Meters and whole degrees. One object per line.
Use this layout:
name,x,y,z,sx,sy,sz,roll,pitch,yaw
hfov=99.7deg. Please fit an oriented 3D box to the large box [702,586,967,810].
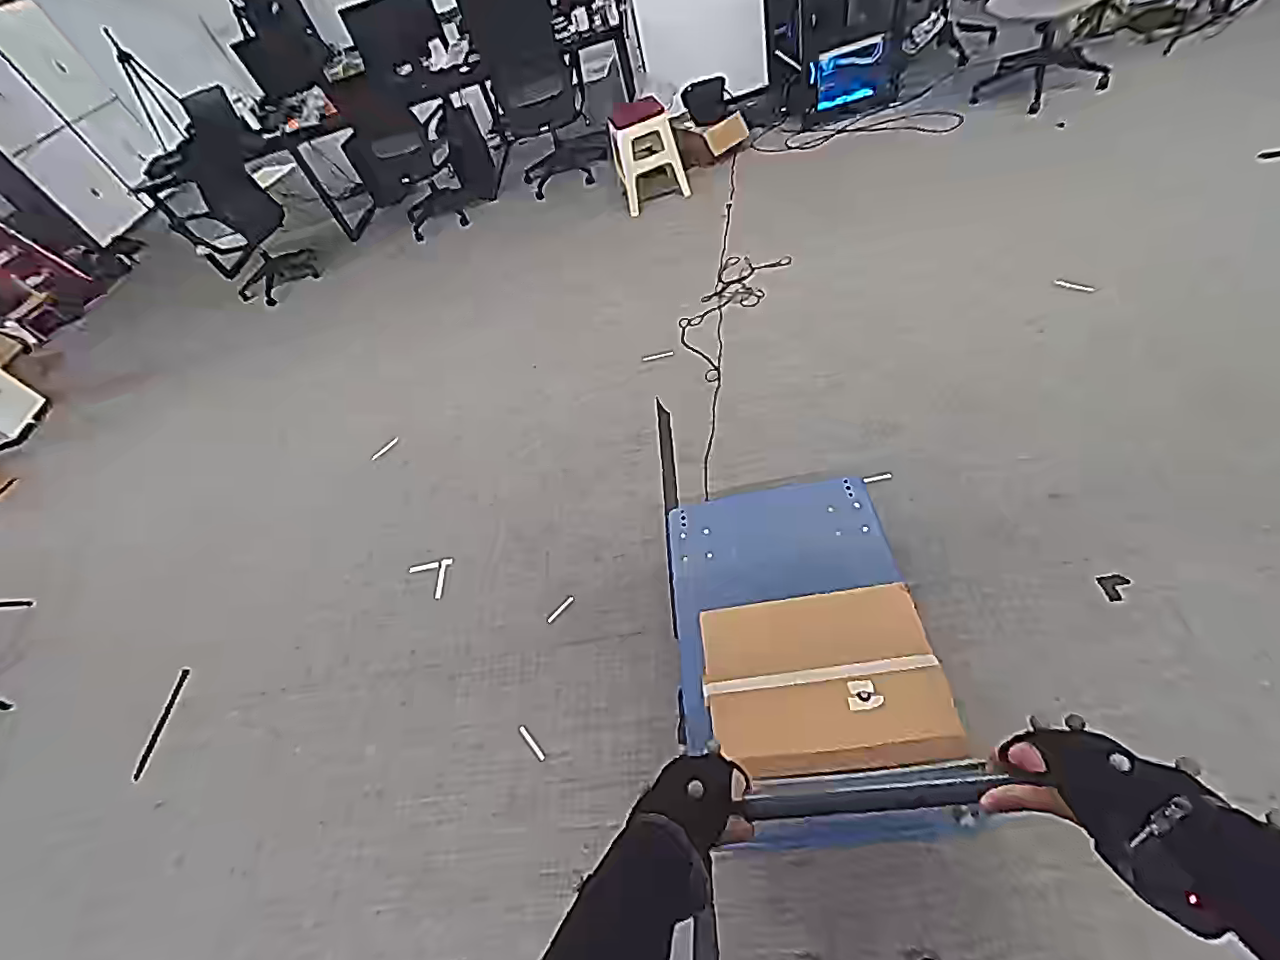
large box,0.360,0.453,1.100,0.408,0.320,0.320,-11,51,9
